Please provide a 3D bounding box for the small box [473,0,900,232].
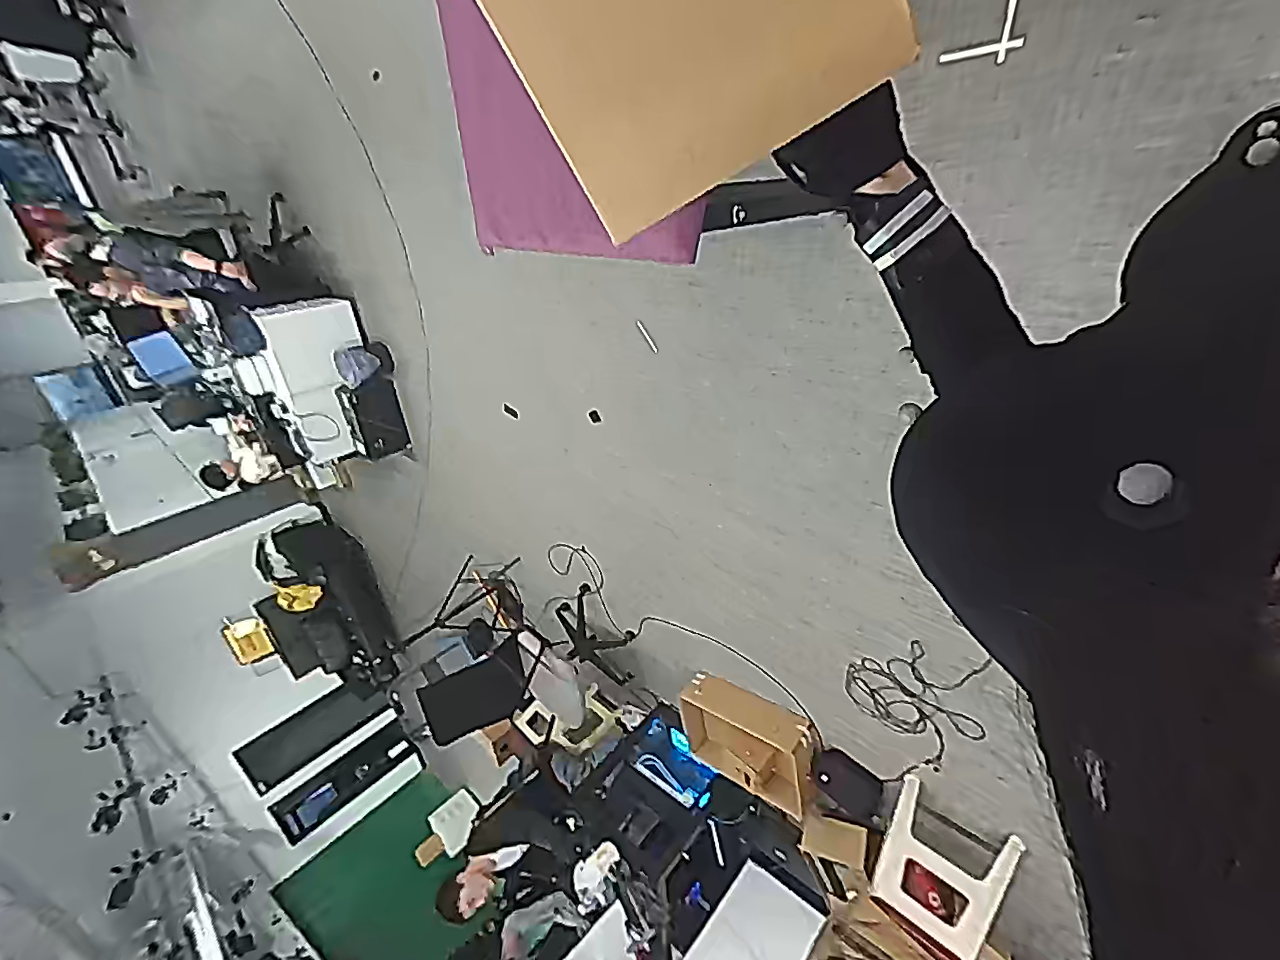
[{"bbox_3d":[0.013,-0.274,0.299,0.168,0.179,0.176,-24,120,20],"label":"small box"}]
